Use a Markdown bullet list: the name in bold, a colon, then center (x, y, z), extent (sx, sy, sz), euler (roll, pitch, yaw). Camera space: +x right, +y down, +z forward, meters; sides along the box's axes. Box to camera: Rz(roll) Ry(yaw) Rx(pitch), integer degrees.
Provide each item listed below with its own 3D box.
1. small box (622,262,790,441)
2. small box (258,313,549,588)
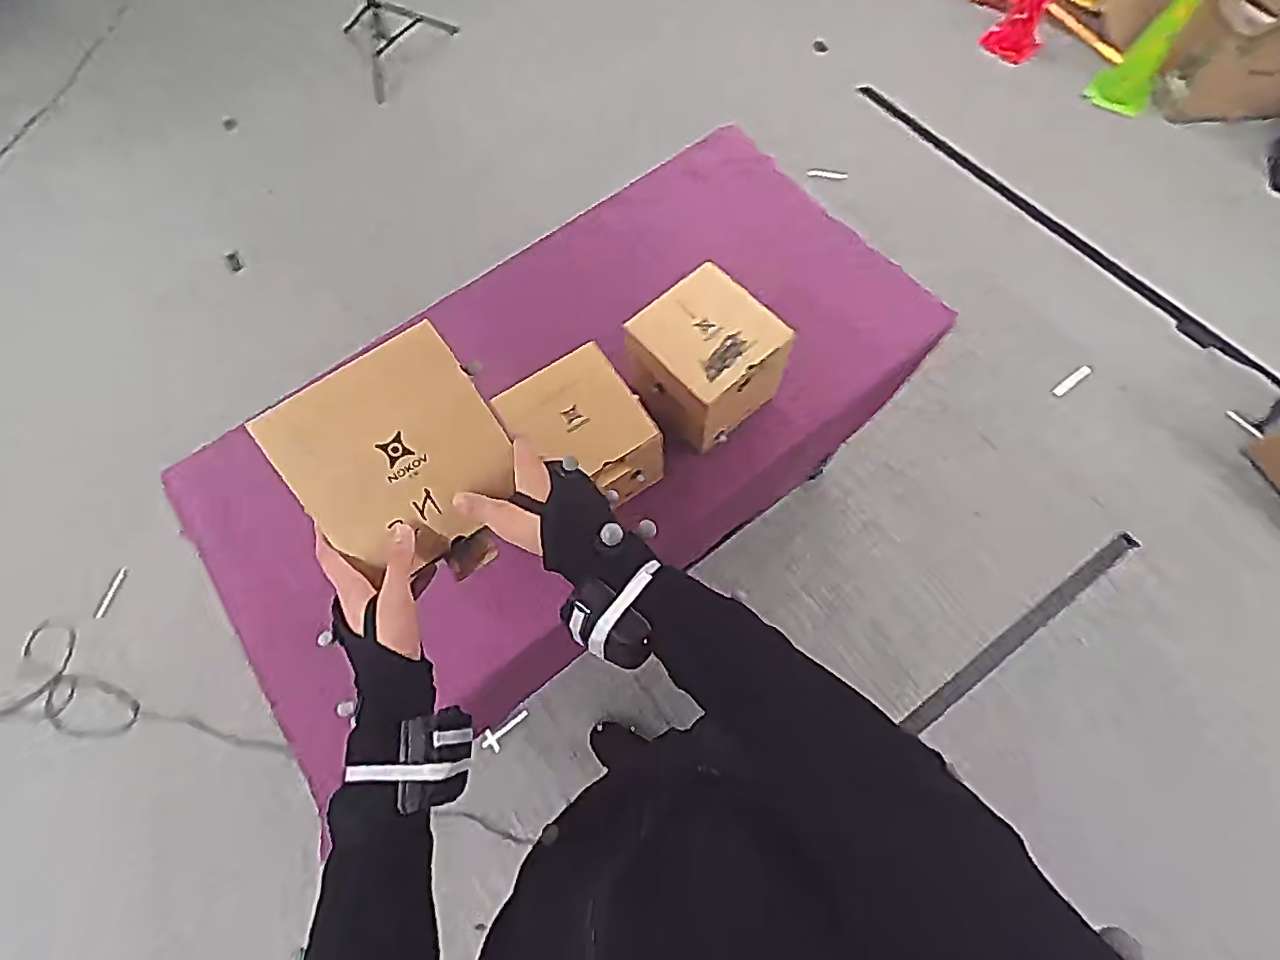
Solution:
- **small box**: center (0.095, -0.180, 0.820), extent (0.168, 0.176, 0.179), euler (-40, 72, -10)
- **small box**: center (-0.205, -0.025, 0.521), extent (0.168, 0.176, 0.179), euler (-33, 97, -8)
